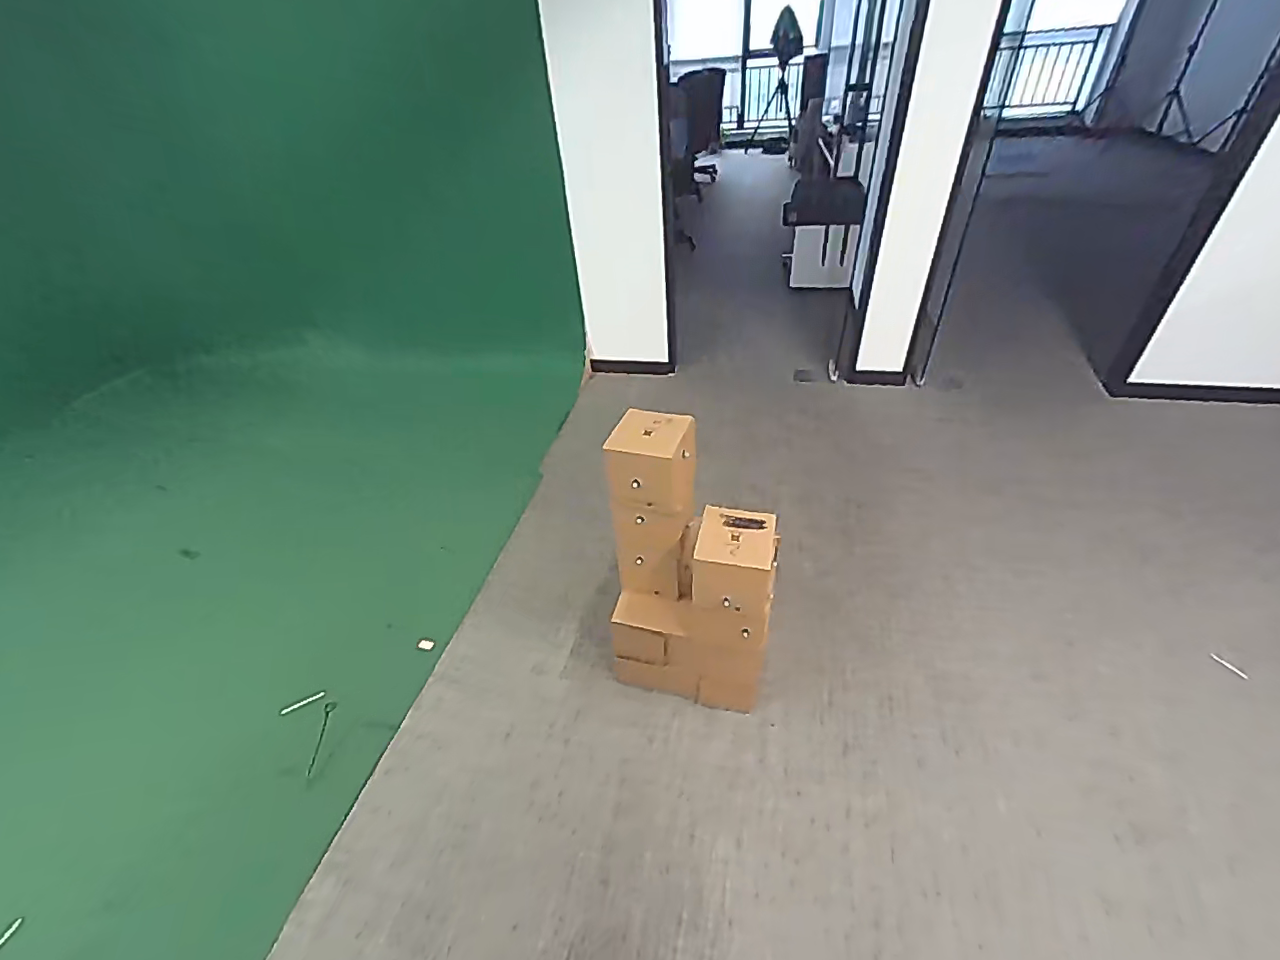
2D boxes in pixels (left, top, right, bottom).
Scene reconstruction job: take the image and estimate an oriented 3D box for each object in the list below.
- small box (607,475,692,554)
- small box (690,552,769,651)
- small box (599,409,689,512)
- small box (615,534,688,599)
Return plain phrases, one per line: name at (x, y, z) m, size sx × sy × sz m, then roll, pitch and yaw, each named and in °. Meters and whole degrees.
small box at (0.032, 0.075, 1.395) m, size 0.179 × 0.176 × 0.168 m, roll 3°, pitch 39°, yaw 15°
small box at (0.224, 0.305, 1.355) m, size 0.179 × 0.176 × 0.168 m, roll 6°, pitch 40°, yaw 13°
small box at (0.019, -0.047, 1.288) m, size 0.168 × 0.176 × 0.179 m, roll 10°, pitch 41°, yaw 18°
small box at (0.037, 0.202, 1.504) m, size 0.168 × 0.176 × 0.179 m, roll 6°, pitch 39°, yaw 14°
